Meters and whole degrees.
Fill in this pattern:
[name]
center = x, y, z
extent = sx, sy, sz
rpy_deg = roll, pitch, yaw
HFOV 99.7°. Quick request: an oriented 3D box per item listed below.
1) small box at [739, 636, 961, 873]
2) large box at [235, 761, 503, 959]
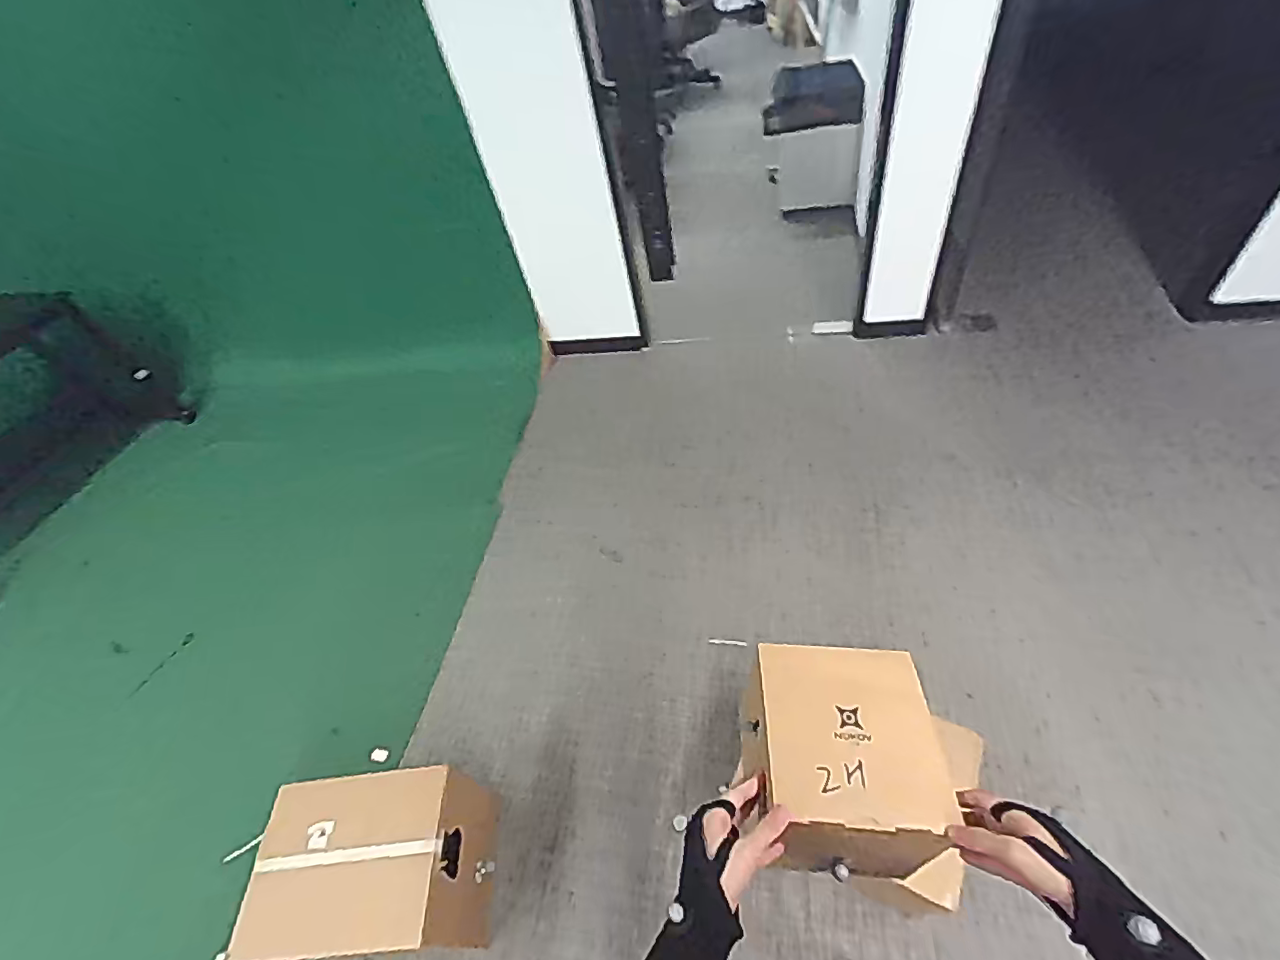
[small box]
center = 0.201, 0.292, 0.580
extent = 0.168, 0.176, 0.179
rpy_deg = 2, 44, 4
[large box]
center = -0.562, 0.864, 1.219
extent = 0.408, 0.320, 0.320
rpy_deg = -10, 47, 6
